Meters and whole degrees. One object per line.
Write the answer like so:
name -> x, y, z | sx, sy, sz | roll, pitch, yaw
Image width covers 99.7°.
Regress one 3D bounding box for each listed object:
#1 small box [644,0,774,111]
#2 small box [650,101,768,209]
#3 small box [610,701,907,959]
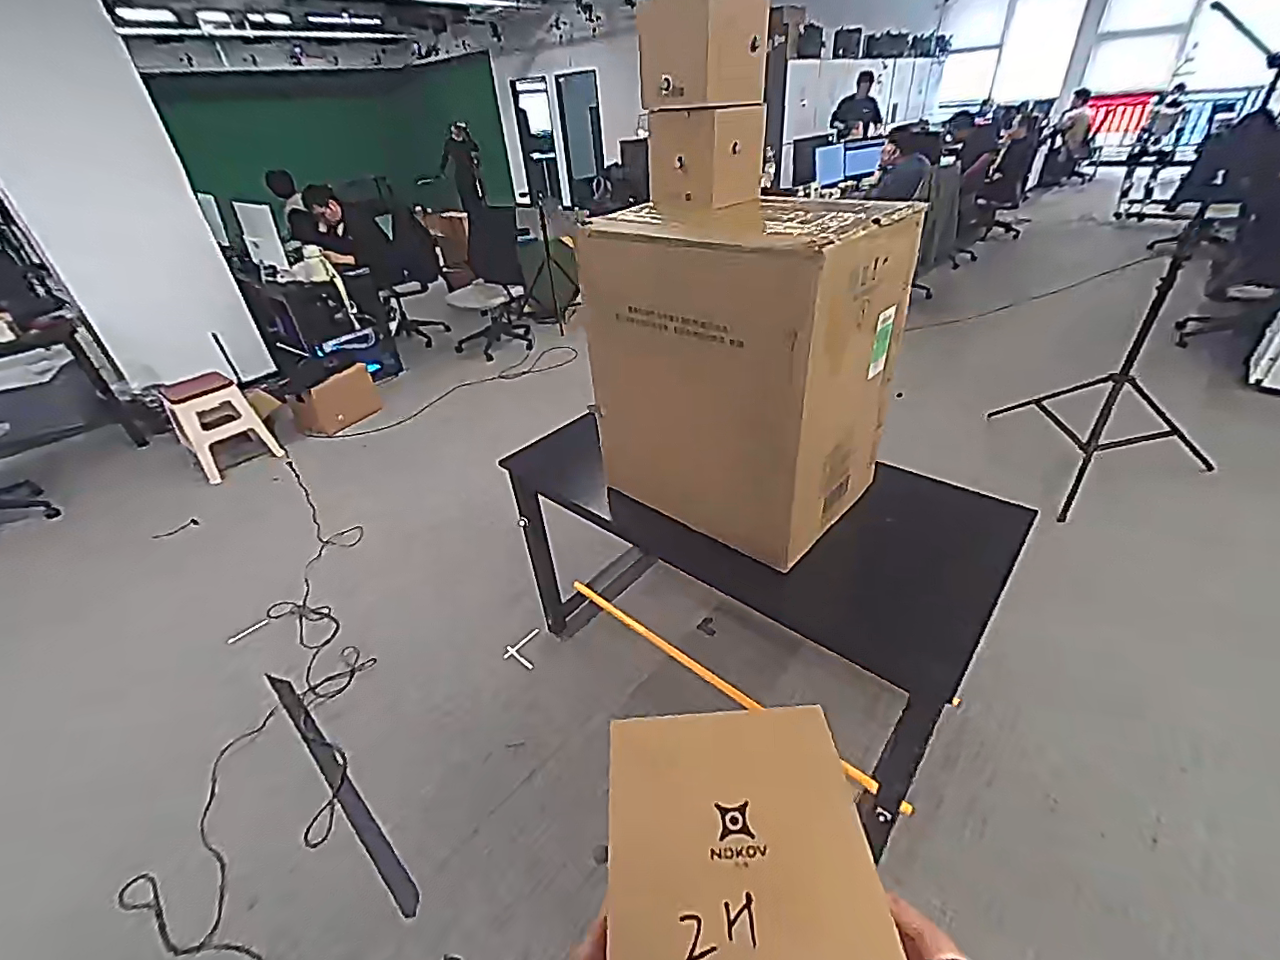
small box -> 0.123, -0.784, 0.993 | 0.168, 0.176, 0.179 | 26, 45, 37
small box -> 0.140, -0.658, 1.097 | 0.168, 0.176, 0.179 | 26, 45, 35
small box -> 0.068, 0.292, 0.397 | 0.168, 0.176, 0.179 | -5, 35, 1
